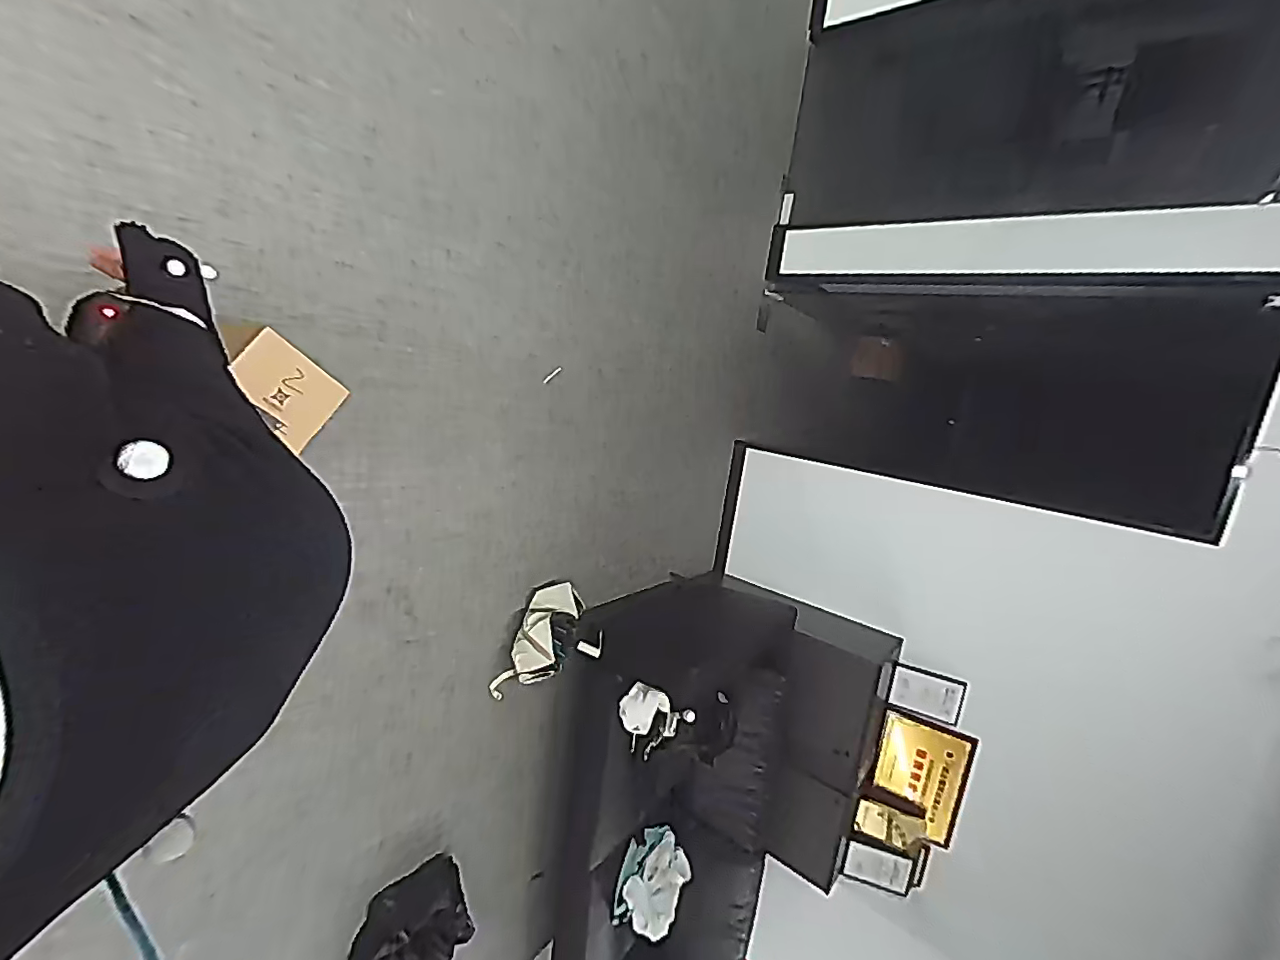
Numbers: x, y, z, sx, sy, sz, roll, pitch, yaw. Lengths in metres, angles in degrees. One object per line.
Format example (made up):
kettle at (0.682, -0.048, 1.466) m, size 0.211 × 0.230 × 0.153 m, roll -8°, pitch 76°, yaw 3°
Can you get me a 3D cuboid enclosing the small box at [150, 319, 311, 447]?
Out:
small box at (-0.791, -0.191, 1.043) m, size 0.168 × 0.176 × 0.179 m, roll 43°, pitch 70°, yaw -51°
